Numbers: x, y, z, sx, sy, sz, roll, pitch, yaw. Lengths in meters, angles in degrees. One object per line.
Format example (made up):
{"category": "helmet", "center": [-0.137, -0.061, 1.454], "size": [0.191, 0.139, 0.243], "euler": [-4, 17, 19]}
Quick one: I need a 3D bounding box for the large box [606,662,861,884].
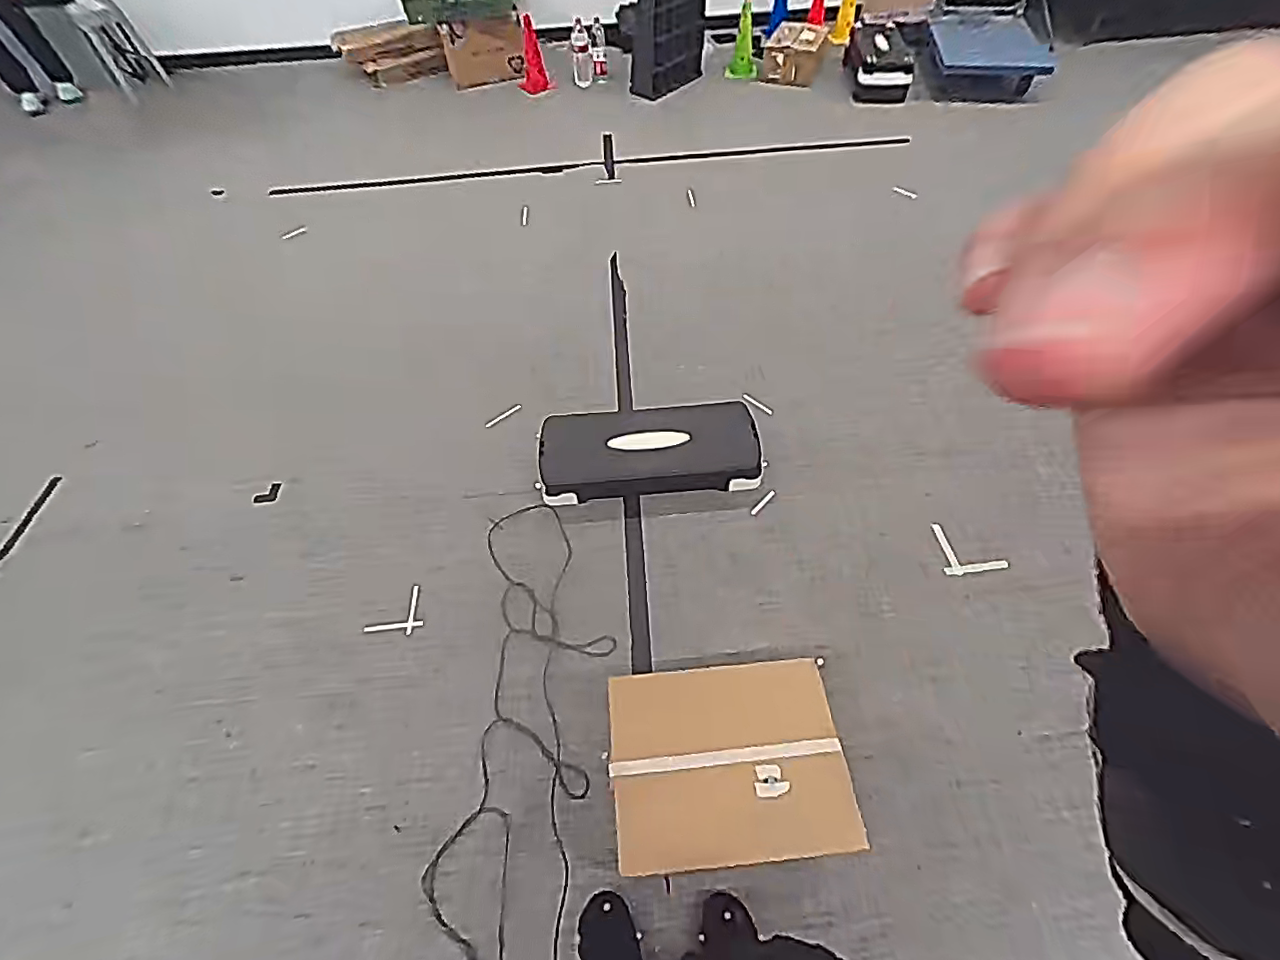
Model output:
{"category": "large box", "center": [0.150, 0.583, 1.072], "size": [0.408, 0.320, 0.320], "euler": [-5, 55, -2]}
